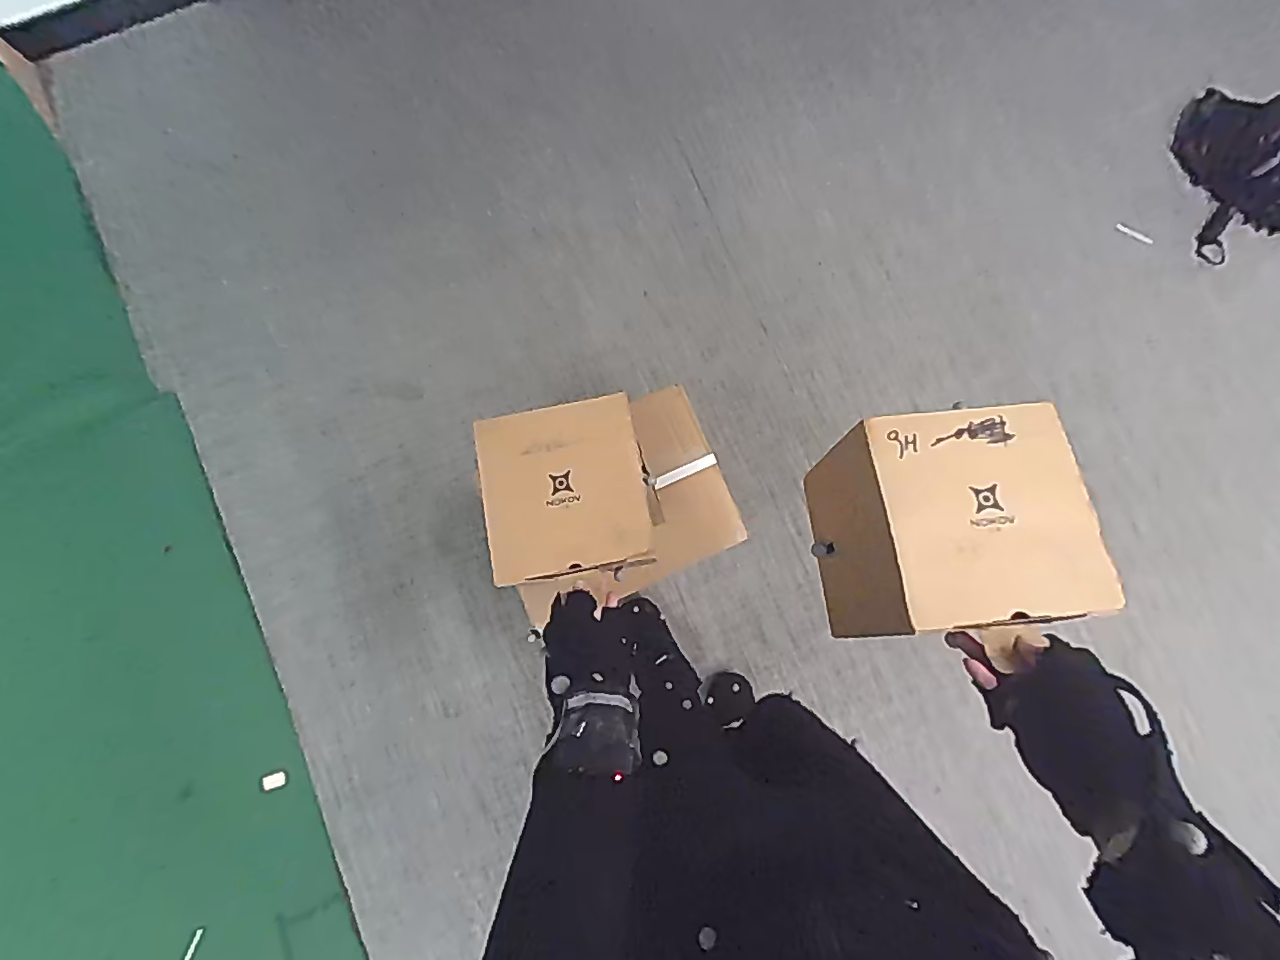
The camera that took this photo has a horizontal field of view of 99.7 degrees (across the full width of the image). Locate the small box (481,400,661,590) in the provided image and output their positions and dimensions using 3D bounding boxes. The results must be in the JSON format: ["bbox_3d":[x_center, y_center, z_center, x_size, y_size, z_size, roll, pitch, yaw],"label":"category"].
[{"bbox_3d":[-0.071,0.028,0.638,0.168,0.176,0.179,-12,77,0],"label":"small box"}]

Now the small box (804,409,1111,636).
[{"bbox_3d":[0.271,0.050,0.509,0.168,0.176,0.179,-5,73,-4],"label":"small box"}]
